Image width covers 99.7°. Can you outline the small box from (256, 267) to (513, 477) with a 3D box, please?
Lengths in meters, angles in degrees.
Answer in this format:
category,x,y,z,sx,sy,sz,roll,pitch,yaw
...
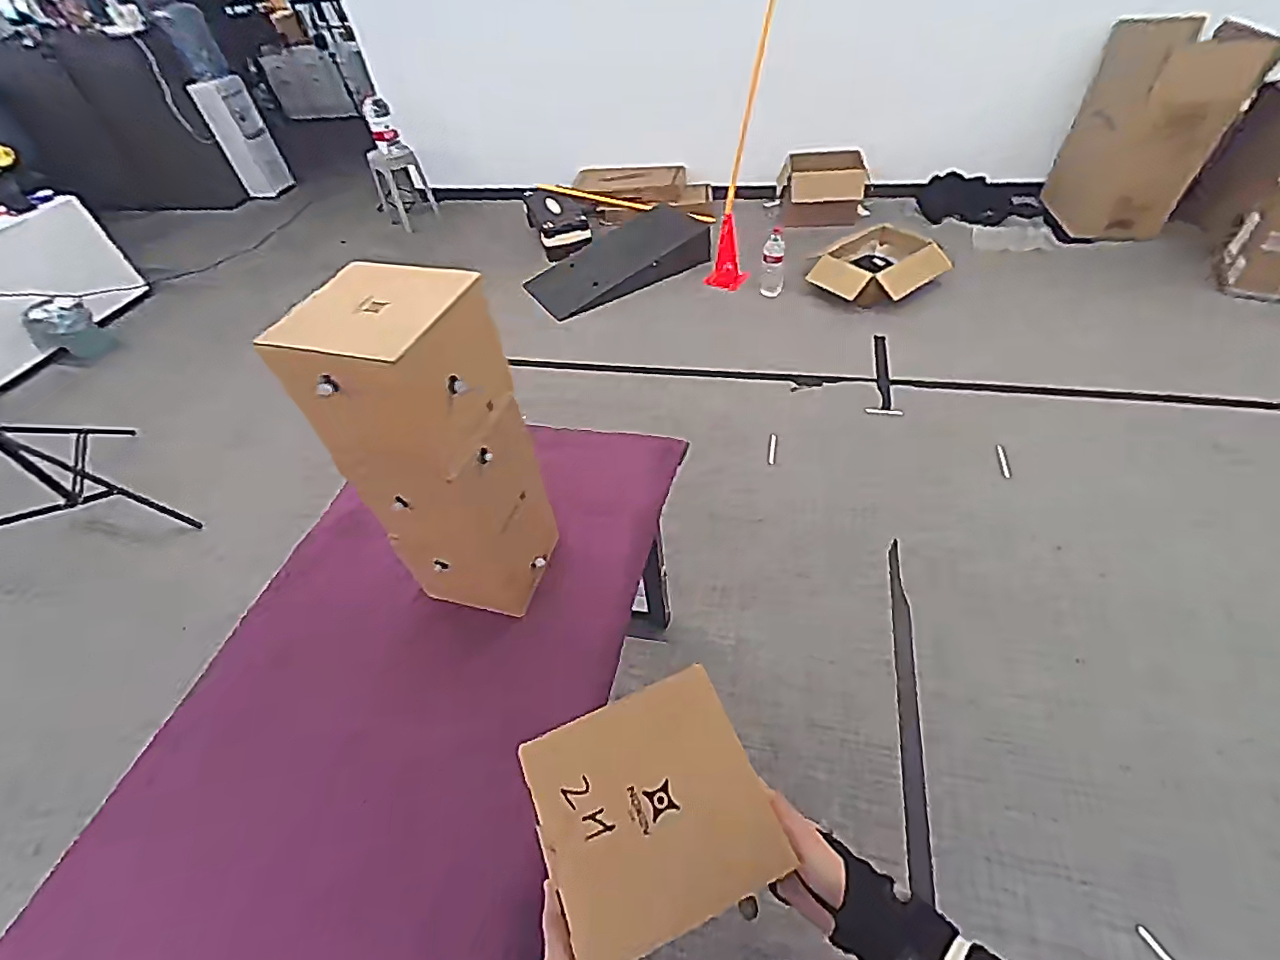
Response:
category,x,y,z,sx,sy,sz,roll,pitch,yaw
small box,-0.271,-0.121,0.624,0.179,0.176,0.168,9,51,16

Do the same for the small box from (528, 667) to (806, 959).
category,x,y,z,sx,sy,sz,roll,pitch,yaw
small box,0.017,0.298,0.493,0.179,0.176,0.168,-21,58,-11

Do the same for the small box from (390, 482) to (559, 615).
category,x,y,z,sx,sy,sz,roll,pitch,yaw
small box,-0.251,0.096,0.868,0.179,0.176,0.168,8,50,14

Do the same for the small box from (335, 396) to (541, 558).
category,x,y,z,sx,sy,sz,roll,pitch,yaw
small box,-0.262,-0.013,0.746,0.179,0.176,0.168,9,51,16
